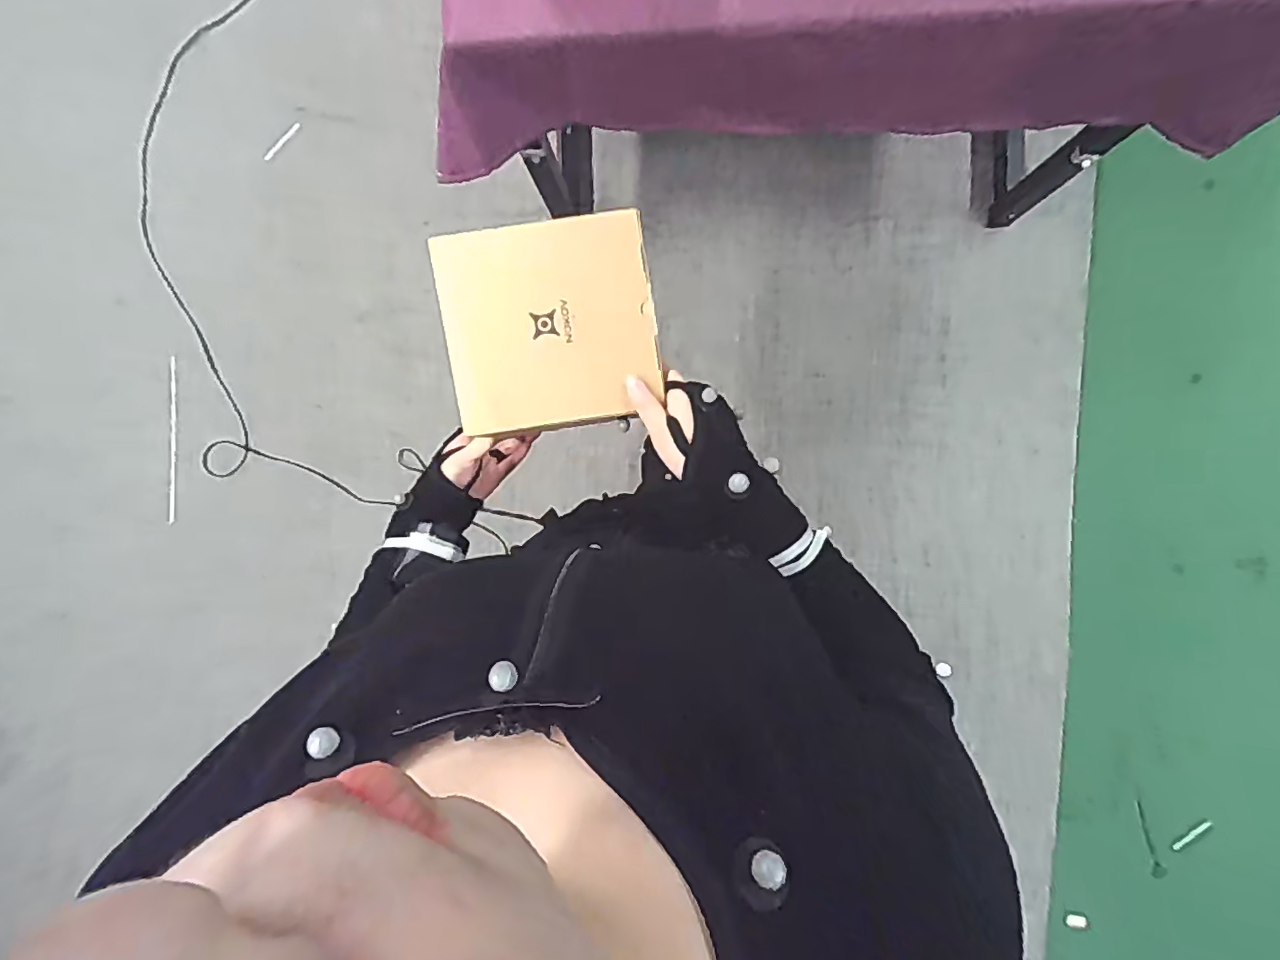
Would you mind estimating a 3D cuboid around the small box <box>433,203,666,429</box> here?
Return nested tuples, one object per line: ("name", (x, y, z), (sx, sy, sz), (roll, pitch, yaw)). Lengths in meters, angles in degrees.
("small box", (-0.077, -0.143, 0.529), (0.179, 0.176, 0.168), (-9, 95, -3))
